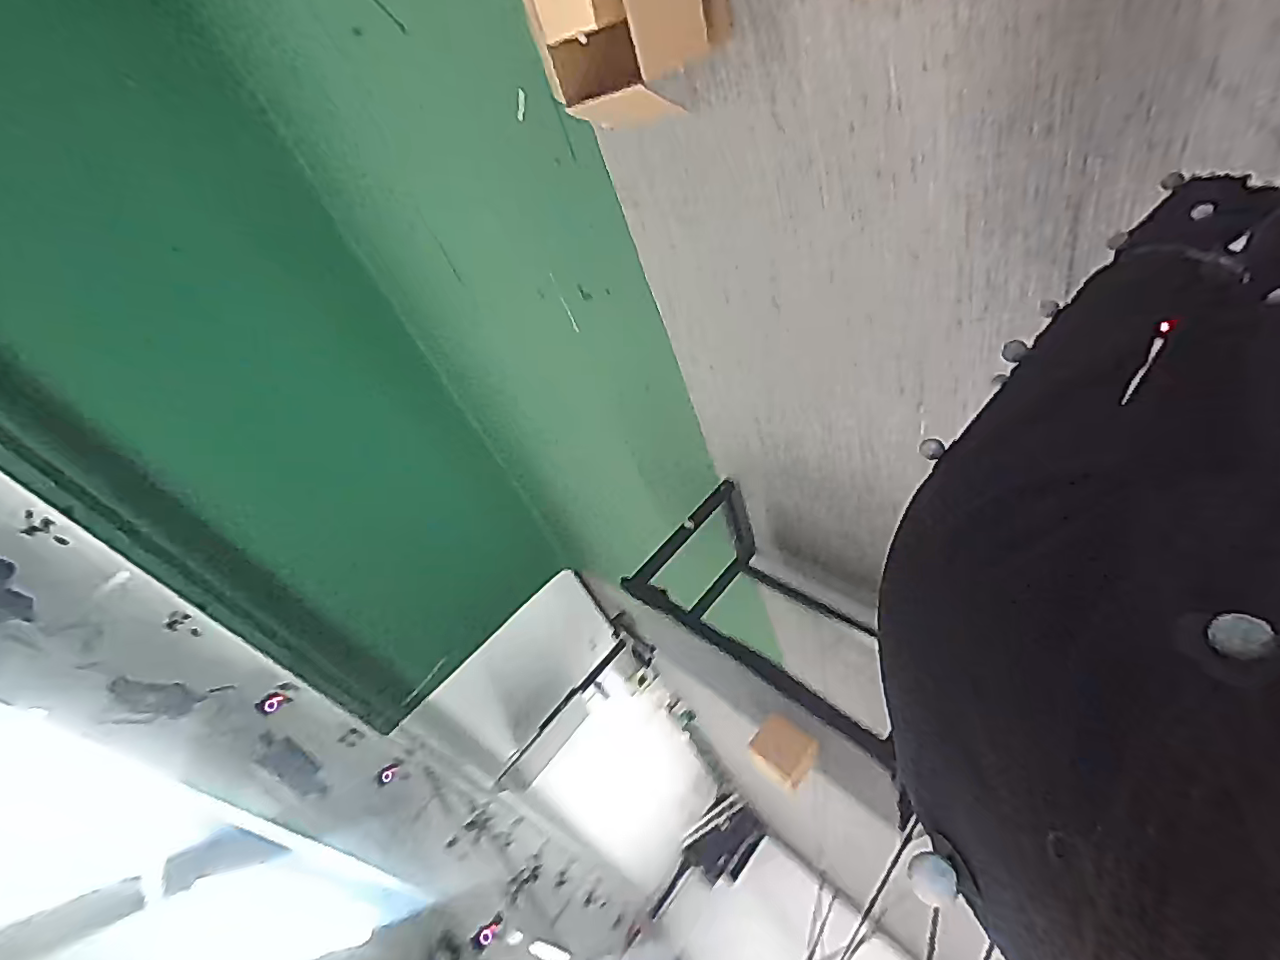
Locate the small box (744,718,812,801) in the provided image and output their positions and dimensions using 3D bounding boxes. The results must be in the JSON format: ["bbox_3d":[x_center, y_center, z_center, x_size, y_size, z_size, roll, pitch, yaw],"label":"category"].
[{"bbox_3d":[0.498,0.988,1.921,0.179,0.176,0.168,27,149,40],"label":"small box"}]

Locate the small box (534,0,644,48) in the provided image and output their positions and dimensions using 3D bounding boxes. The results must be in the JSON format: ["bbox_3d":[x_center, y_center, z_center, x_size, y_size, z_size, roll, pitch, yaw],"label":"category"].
[{"bbox_3d":[-0.110,-1.039,1.122,0.179,0.176,0.168,24,147,40],"label":"small box"}]
